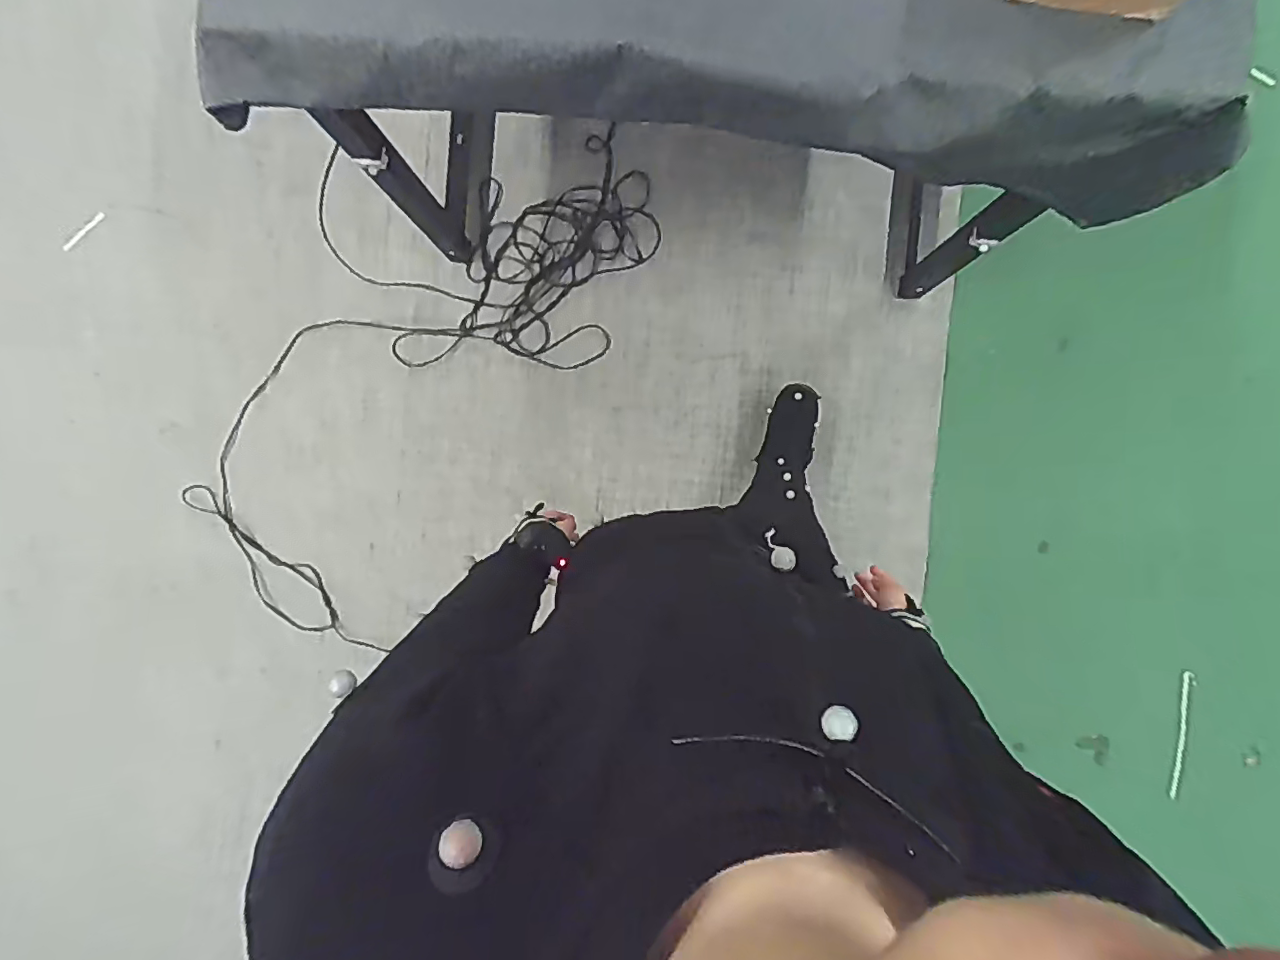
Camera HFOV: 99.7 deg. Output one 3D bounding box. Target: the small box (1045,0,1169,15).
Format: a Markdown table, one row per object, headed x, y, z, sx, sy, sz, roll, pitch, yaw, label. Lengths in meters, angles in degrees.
| x | y | z | sx | sy | sz | roll | pitch | yaw | label |
| --- | --- | --- | --- | --- | --- | --- | --- | --- | --- |
| 0.508 | -0.607 | 0.525 | 0.179 | 0.176 | 0.168 | 10 | 91 | 1 | small box |
